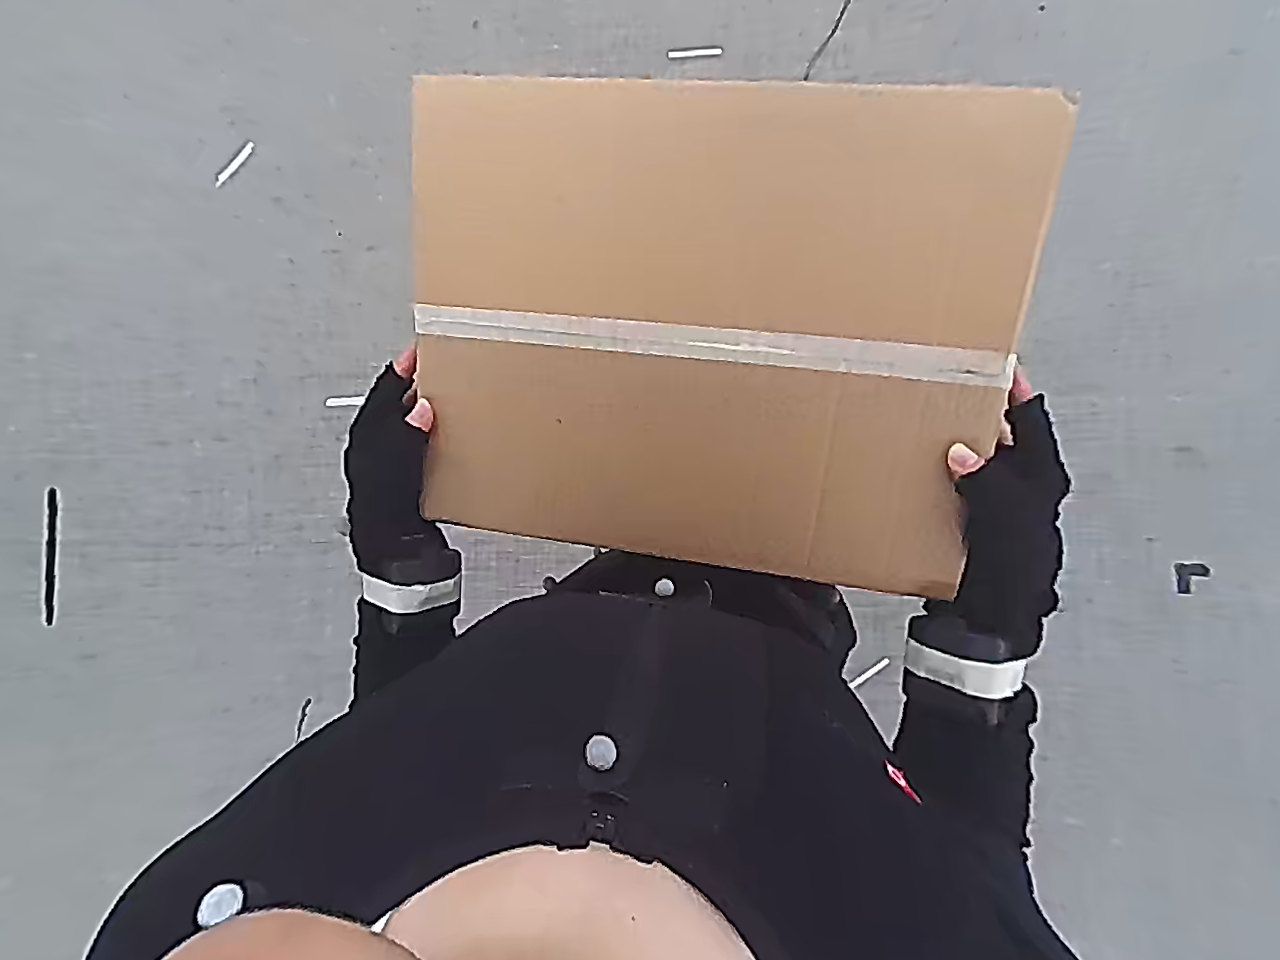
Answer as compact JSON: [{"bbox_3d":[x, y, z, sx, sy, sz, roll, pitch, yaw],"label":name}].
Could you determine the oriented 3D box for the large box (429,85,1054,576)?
[{"bbox_3d":[0.060,-0.133,0.522,0.408,0.320,0.320,8,105,9],"label":"large box"}]
